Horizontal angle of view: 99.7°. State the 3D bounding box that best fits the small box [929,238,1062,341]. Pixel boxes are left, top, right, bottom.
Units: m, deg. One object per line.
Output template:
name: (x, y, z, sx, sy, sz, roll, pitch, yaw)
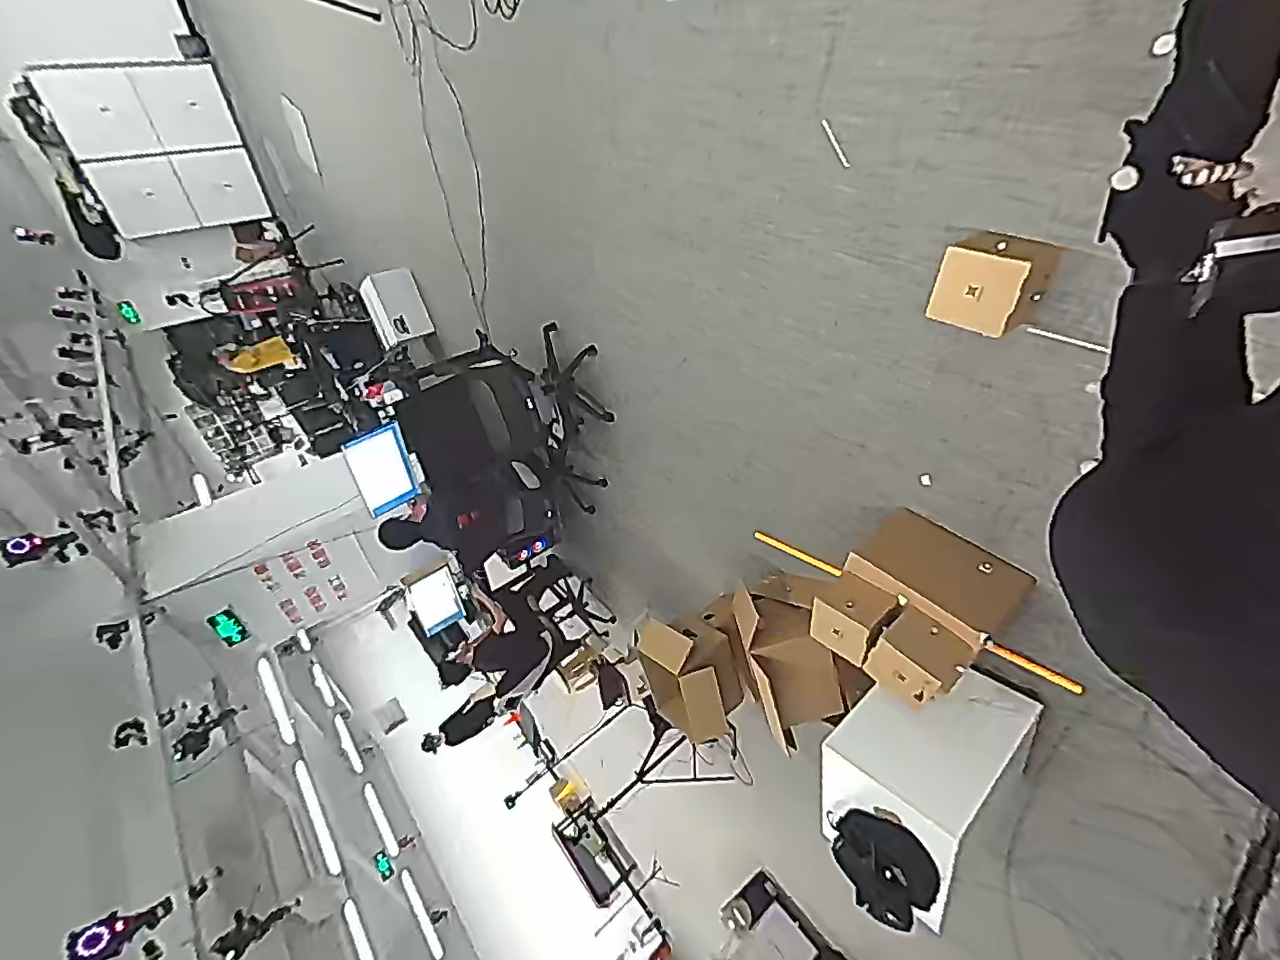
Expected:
small box: (0.807, -0.441, 1.234, 0.179, 0.176, 0.168, 35, 141, 36)
